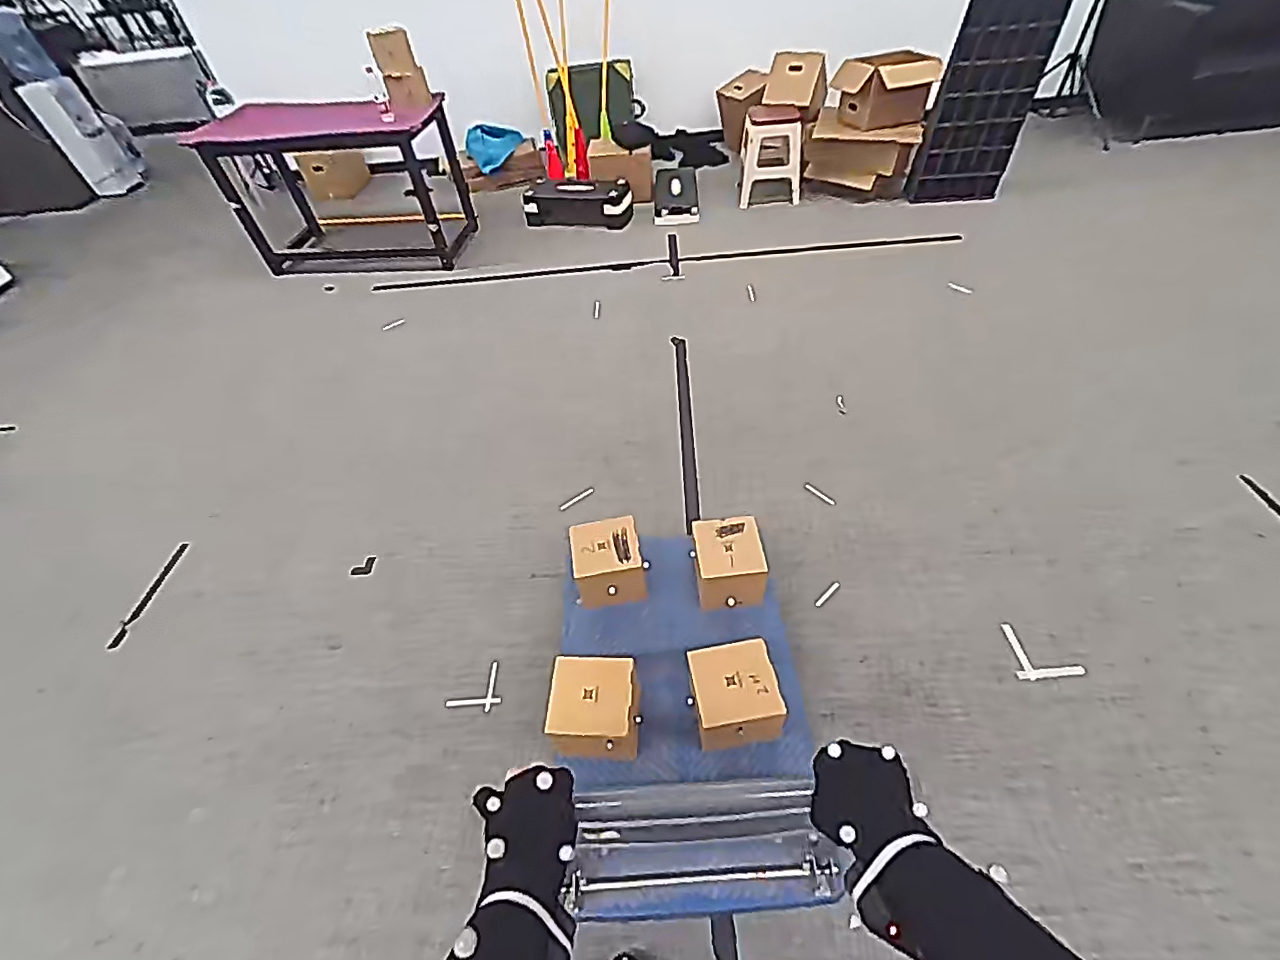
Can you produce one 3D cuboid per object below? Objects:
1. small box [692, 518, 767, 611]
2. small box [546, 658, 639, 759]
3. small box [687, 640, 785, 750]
[{"bbox_3d":[0.230,0.224,1.432,0.168,0.176,0.179,-7,49,1],"label":"small box"},{"bbox_3d":[-0.098,0.514,1.213,0.179,0.176,0.168,0,48,5],"label":"small box"},{"bbox_3d":[0.207,0.483,1.204,0.179,0.176,0.168,-10,48,-2],"label":"small box"}]
